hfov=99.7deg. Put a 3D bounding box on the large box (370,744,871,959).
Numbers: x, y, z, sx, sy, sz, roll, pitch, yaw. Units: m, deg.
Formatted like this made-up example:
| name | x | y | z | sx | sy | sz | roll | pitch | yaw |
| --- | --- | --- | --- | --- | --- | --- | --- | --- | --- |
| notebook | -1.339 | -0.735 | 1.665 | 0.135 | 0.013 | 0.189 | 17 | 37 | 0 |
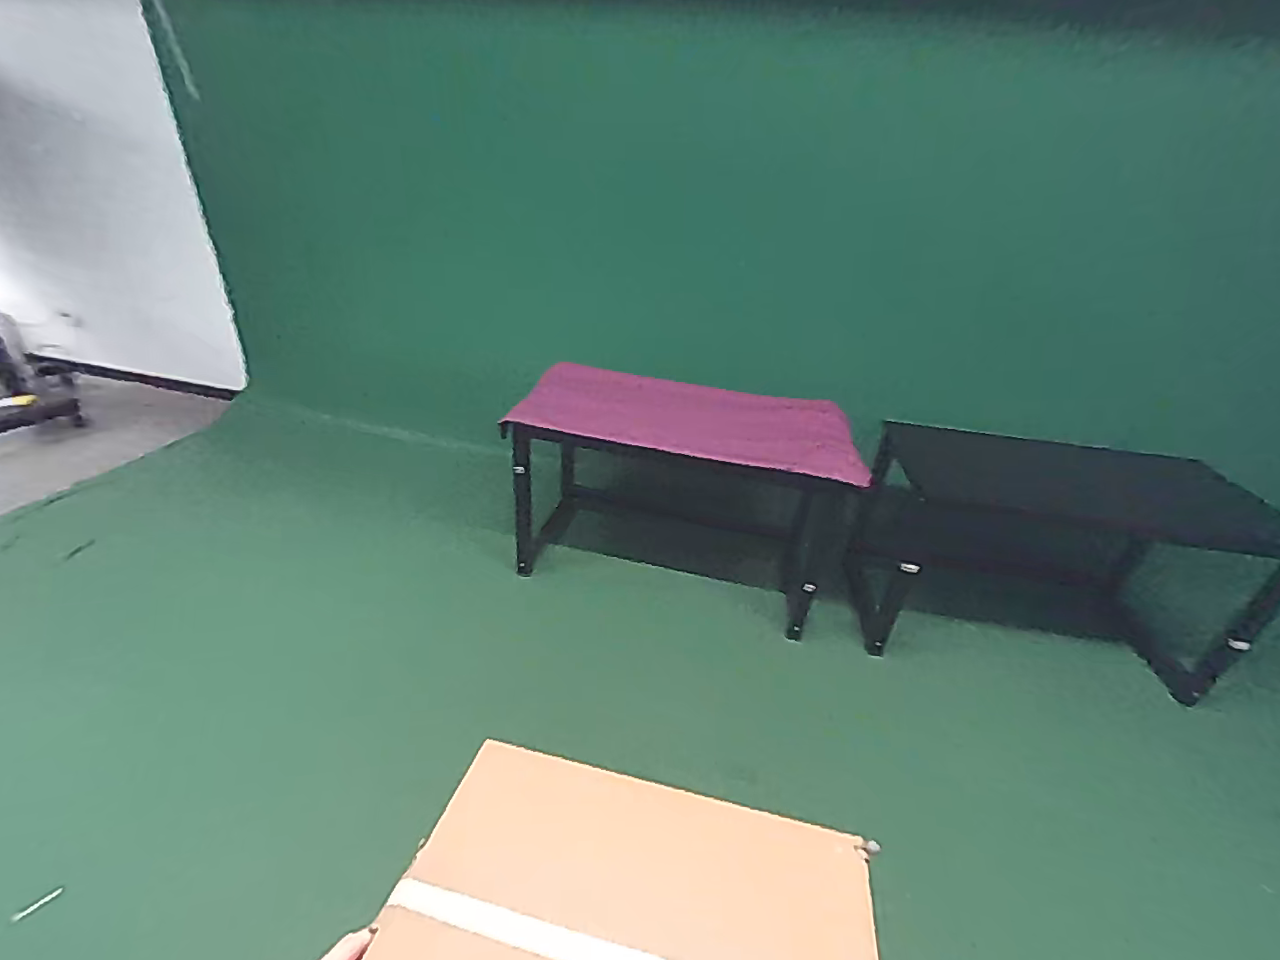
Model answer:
| name | x | y | z | sx | sy | sz | roll | pitch | yaw |
| --- | --- | --- | --- | --- | --- | --- | --- | --- | --- |
| large box | -0.023 | 0.521 | 0.509 | 0.408 | 0.320 | 0.320 | 10 | 28 | 9 |
